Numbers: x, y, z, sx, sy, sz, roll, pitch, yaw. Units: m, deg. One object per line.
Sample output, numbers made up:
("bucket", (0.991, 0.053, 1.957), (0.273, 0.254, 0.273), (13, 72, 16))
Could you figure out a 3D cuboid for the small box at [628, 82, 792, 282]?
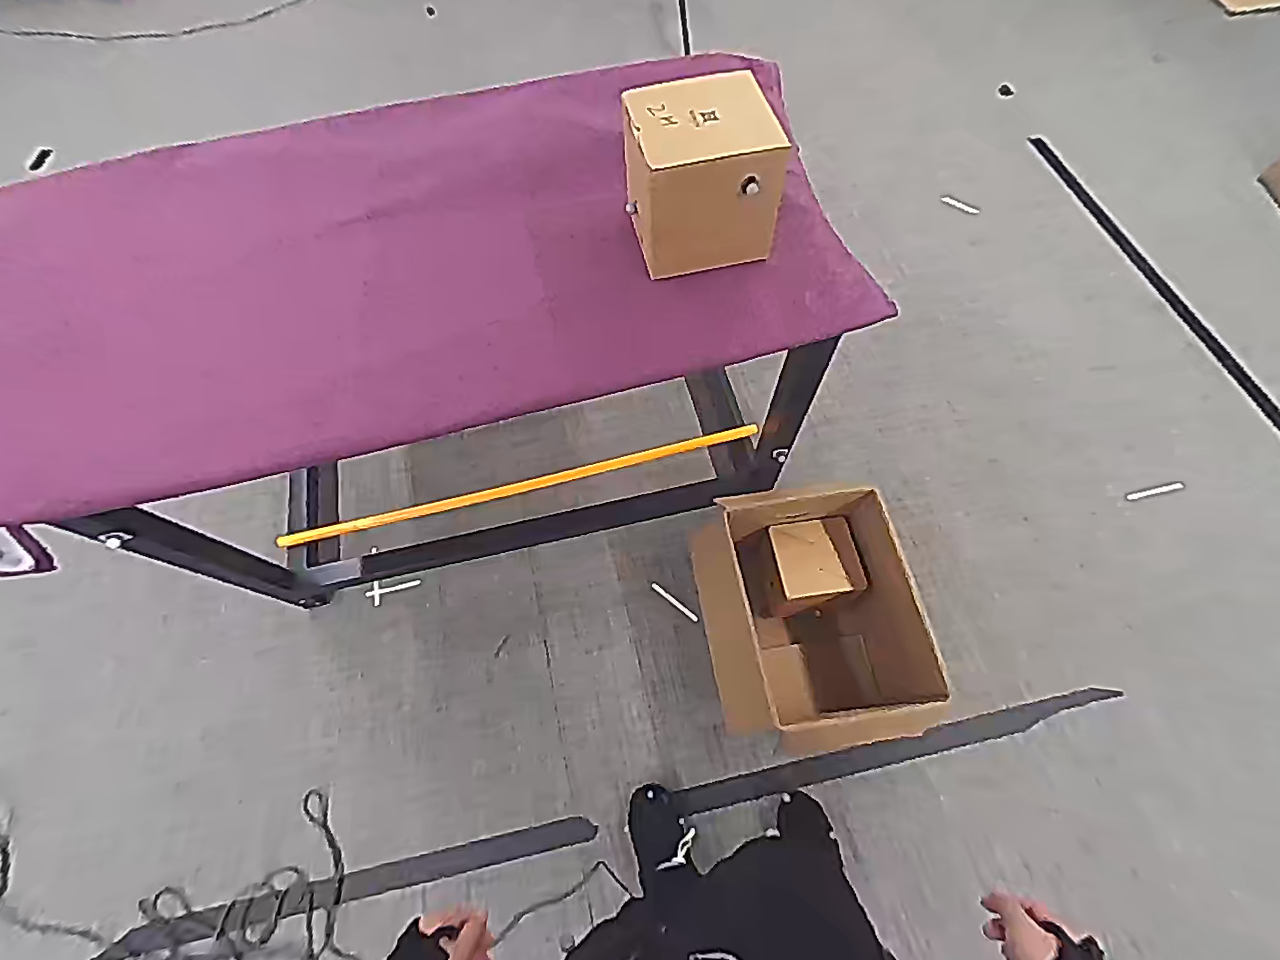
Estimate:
("small box", (0.085, -0.404, 0.748), (0.179, 0.176, 0.168), (-12, 63, -4))
